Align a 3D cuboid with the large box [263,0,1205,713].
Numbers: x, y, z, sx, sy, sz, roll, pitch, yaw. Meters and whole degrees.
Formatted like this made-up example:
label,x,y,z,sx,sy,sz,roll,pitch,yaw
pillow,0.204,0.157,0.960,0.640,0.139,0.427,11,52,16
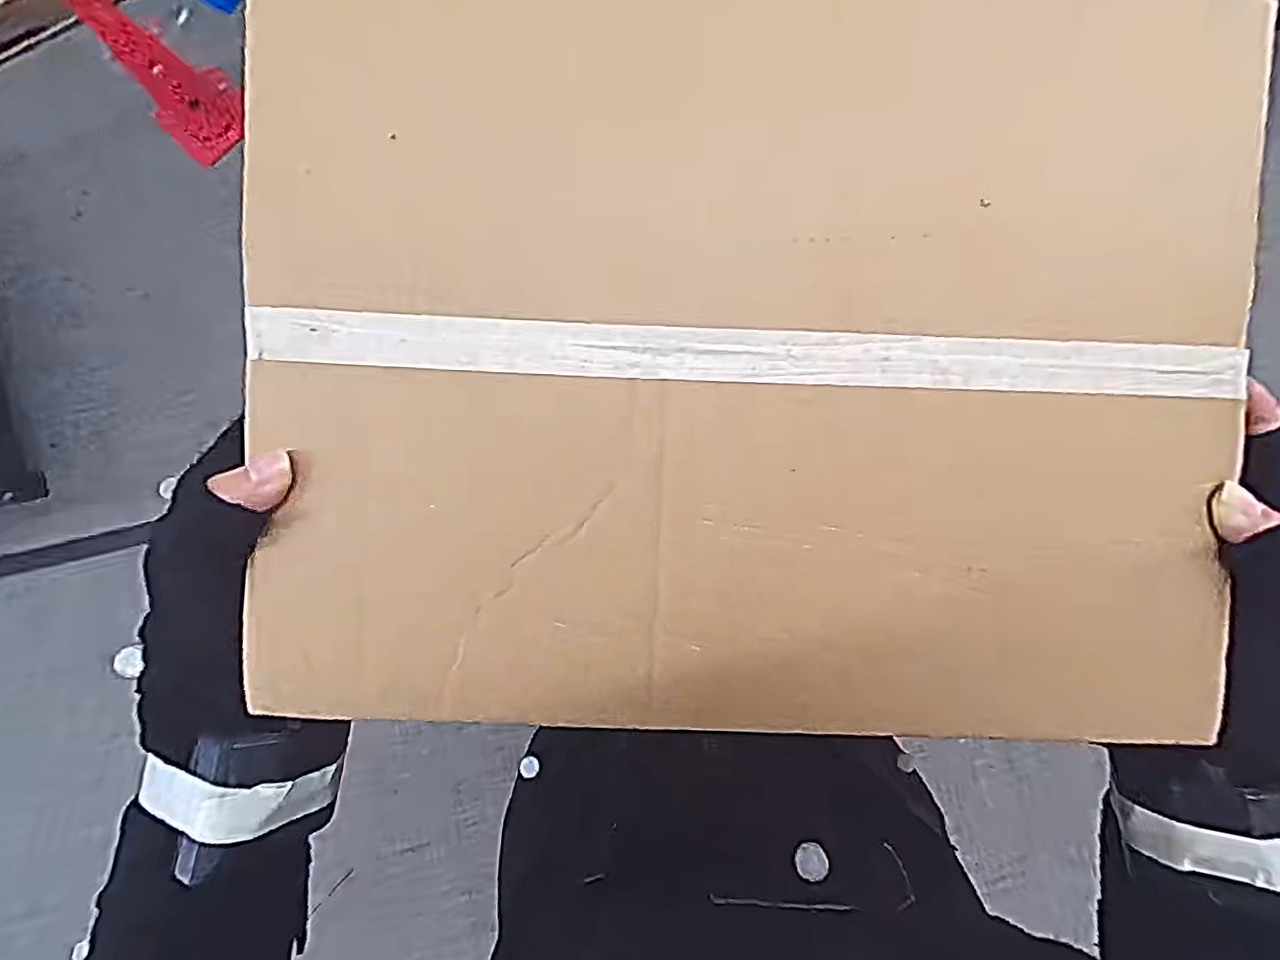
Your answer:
label,x,y,z,sx,sy,sz,roll,pitch,yaw
large box,0.039,-0.057,0.382,0.408,0.320,0.320,1,92,-2
